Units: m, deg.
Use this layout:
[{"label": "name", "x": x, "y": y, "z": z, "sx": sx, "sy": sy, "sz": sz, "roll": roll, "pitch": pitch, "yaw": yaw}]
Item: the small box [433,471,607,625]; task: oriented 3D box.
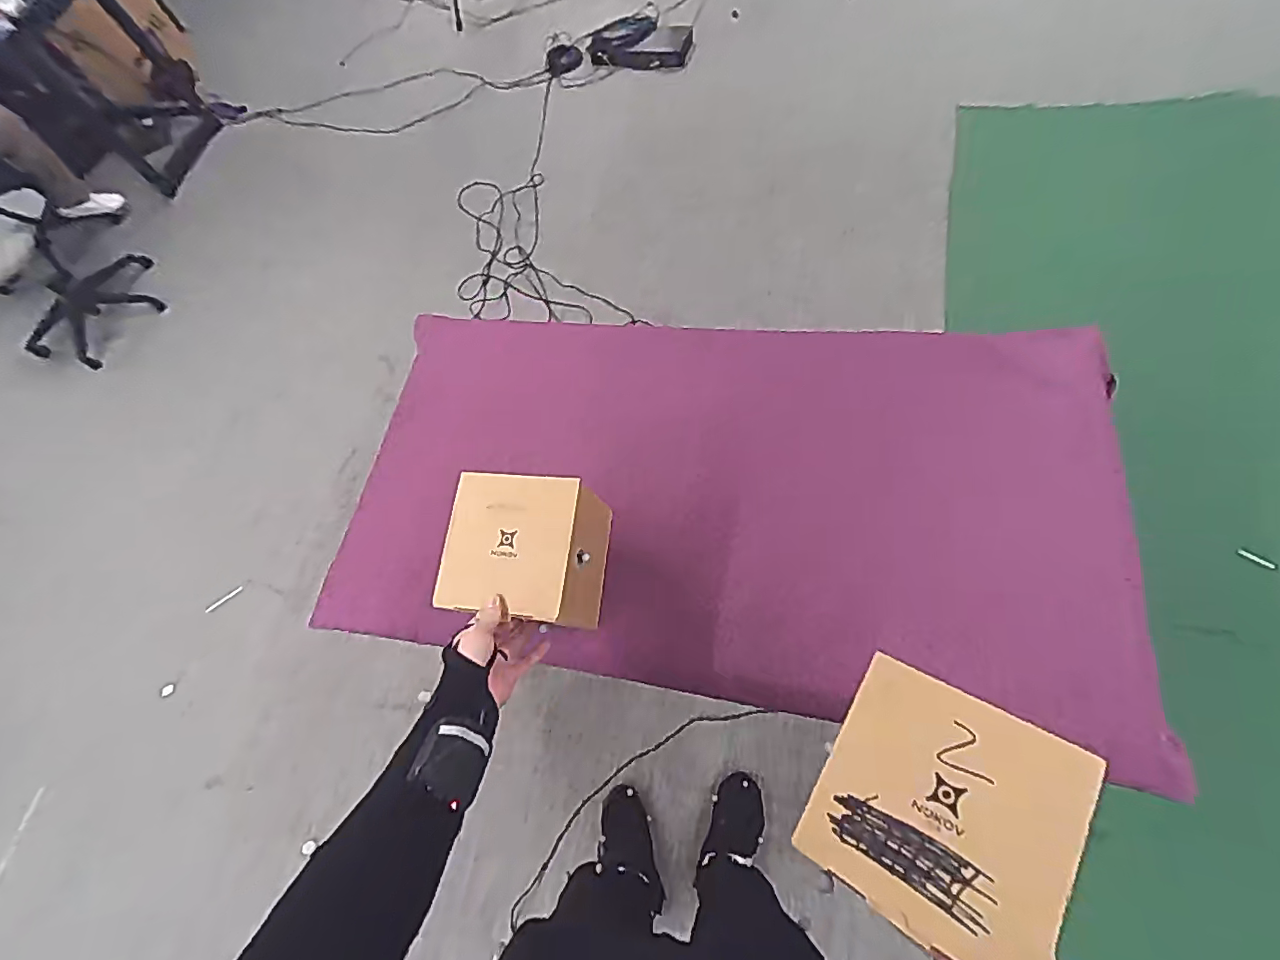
[{"label": "small box", "x": -0.150, "y": 0.100, "z": 0.744, "sx": 0.168, "sy": 0.176, "sz": 0.179, "roll": 4, "pitch": 73, "yaw": 12}]
